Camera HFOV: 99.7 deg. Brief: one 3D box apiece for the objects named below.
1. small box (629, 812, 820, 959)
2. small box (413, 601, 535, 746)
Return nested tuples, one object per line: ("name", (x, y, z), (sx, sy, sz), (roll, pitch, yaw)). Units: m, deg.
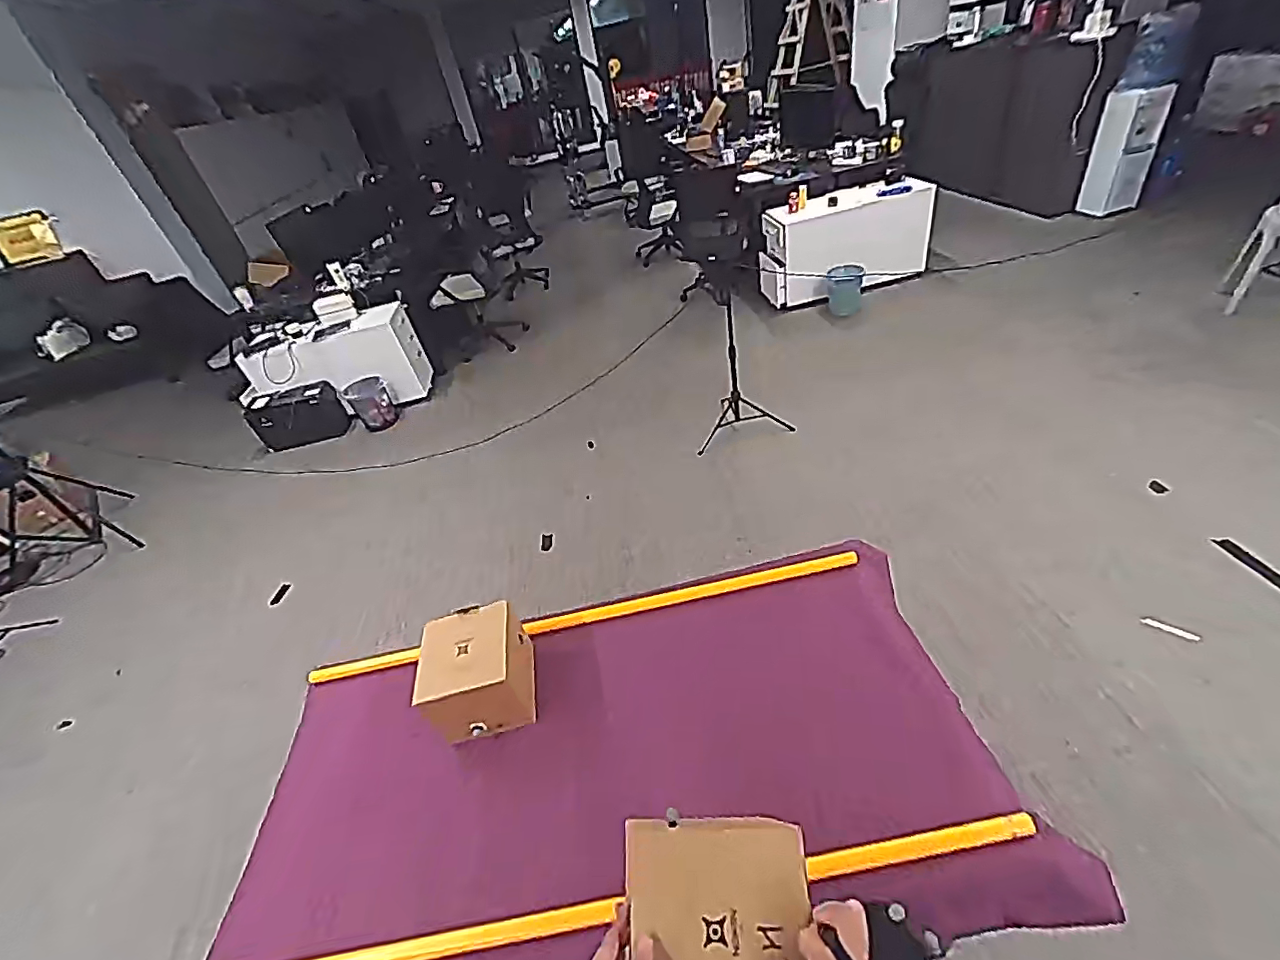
("small box", (0.076, 0.456, 0.576), (0.179, 0.176, 0.168), (1, 61, -3))
("small box", (-0.302, 0.365, 1.023), (0.168, 0.176, 0.179), (-15, 39, -1))
